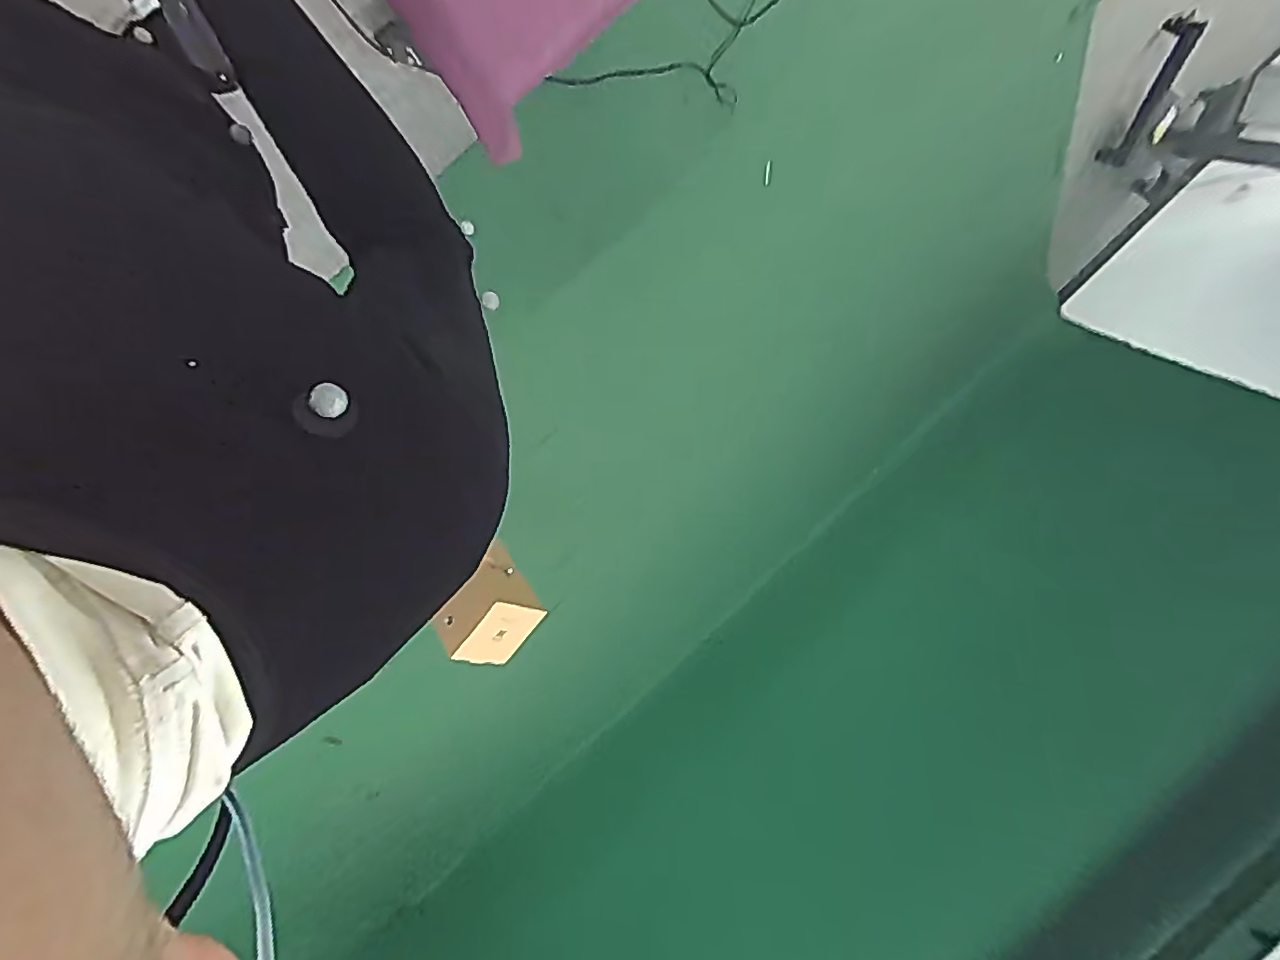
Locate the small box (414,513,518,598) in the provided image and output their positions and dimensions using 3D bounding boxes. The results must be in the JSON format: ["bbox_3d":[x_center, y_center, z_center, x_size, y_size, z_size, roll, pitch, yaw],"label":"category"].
[{"bbox_3d":[-0.449,0.209,1.393,0.168,0.176,0.179,-44,139,0],"label":"small box"}]

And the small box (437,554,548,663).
[{"bbox_3d":[-0.361,0.308,1.296,0.179,0.176,0.168,-50,140,6],"label":"small box"}]
